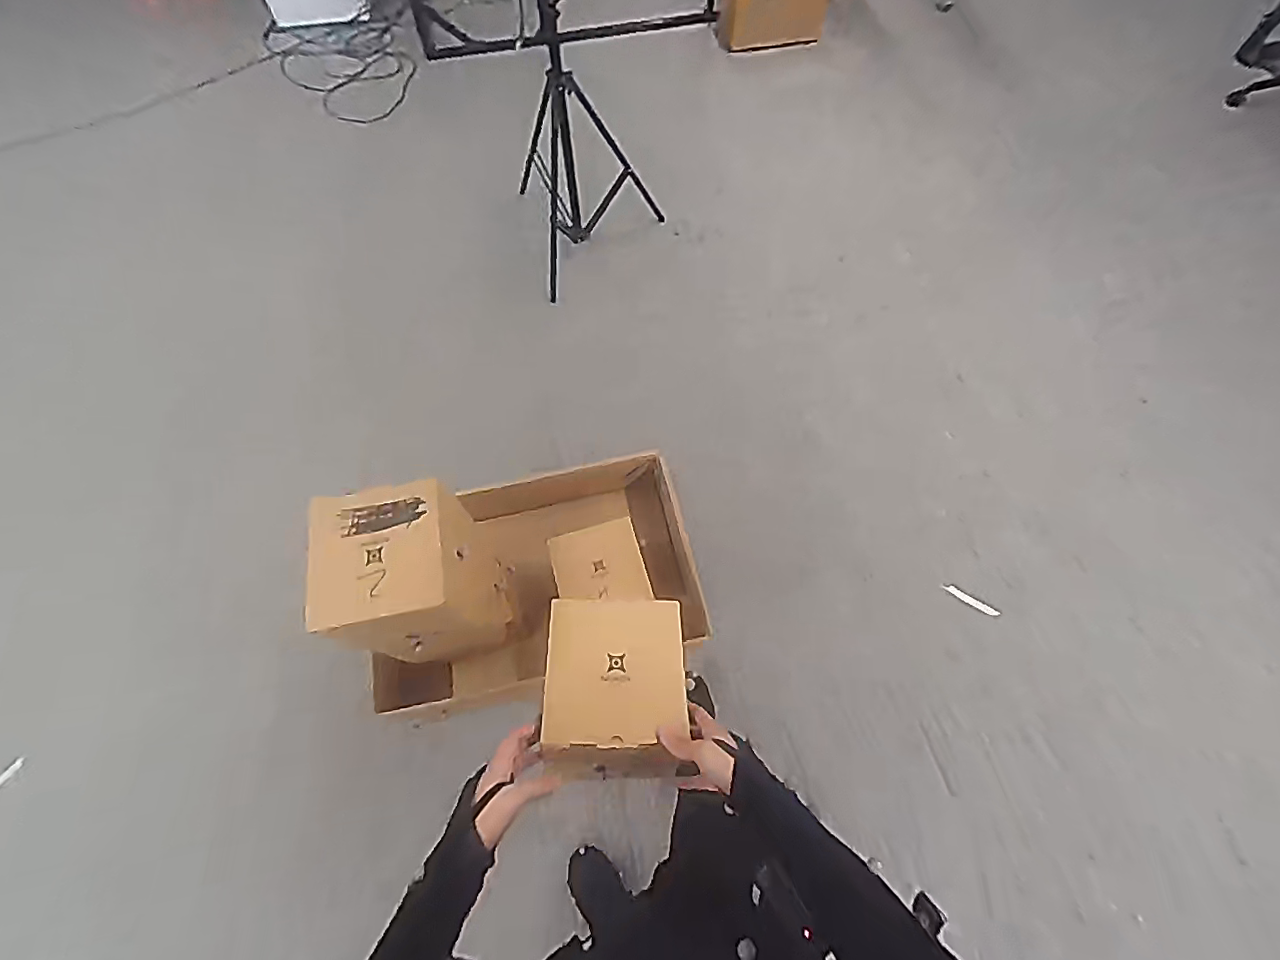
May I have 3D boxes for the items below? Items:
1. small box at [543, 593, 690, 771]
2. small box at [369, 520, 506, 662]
[{"bbox_3d":[-0.035,0.264,0.705,0.168,0.176,0.179,1,52,-6],"label":"small box"},{"bbox_3d":[-0.328,0.189,0.898,0.168,0.176,0.179,-11,65,-4],"label":"small box"}]
